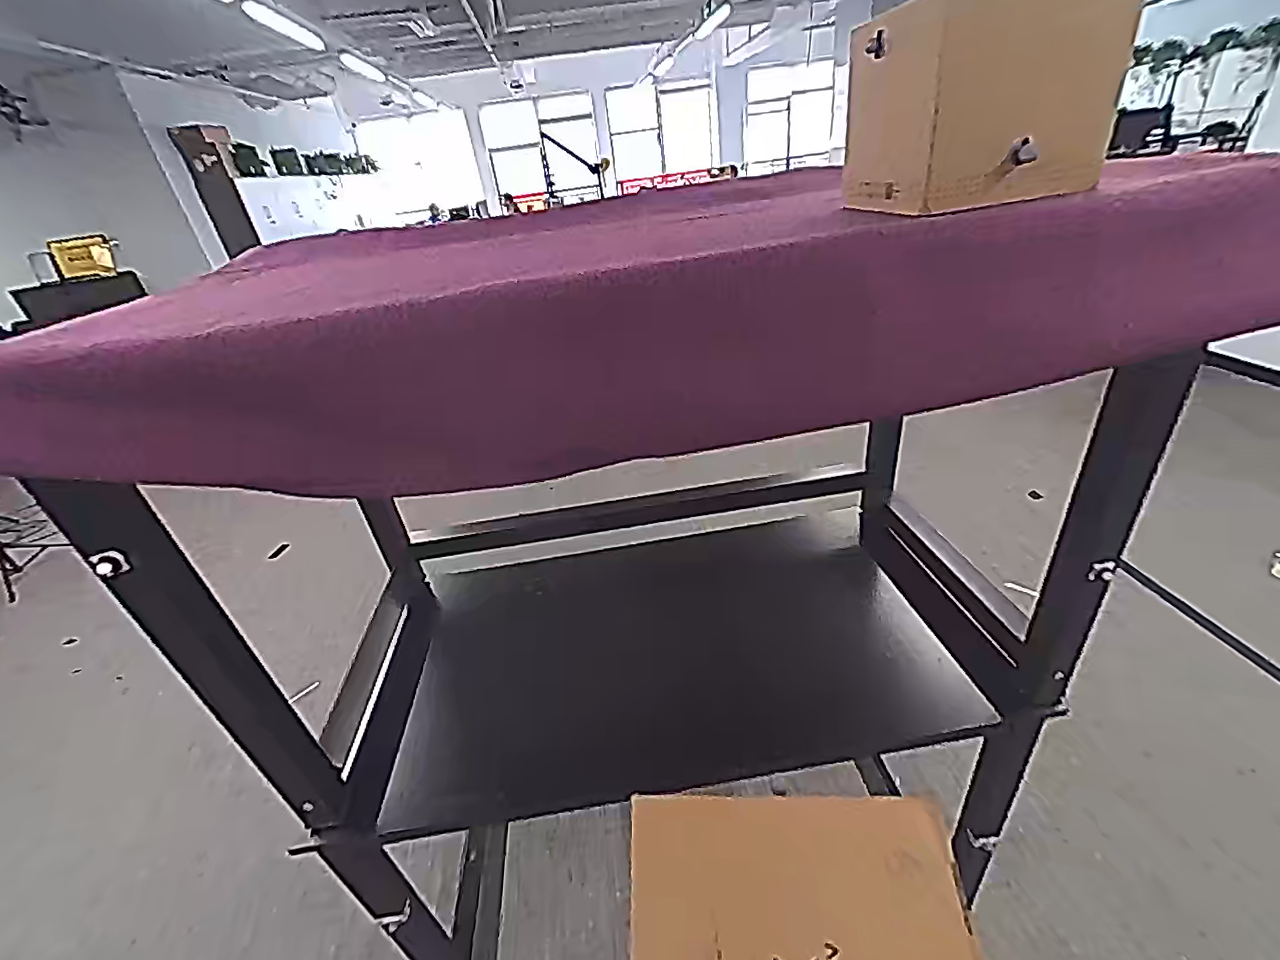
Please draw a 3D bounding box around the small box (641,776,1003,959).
[{"bbox_3d":[0.091,0.278,0.325,0.179,0.176,0.168,-2,57,3],"label":"small box"}]

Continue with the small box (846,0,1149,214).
[{"bbox_3d":[0.321,-0.367,0.525,0.179,0.176,0.168,-10,29,-3],"label":"small box"}]
